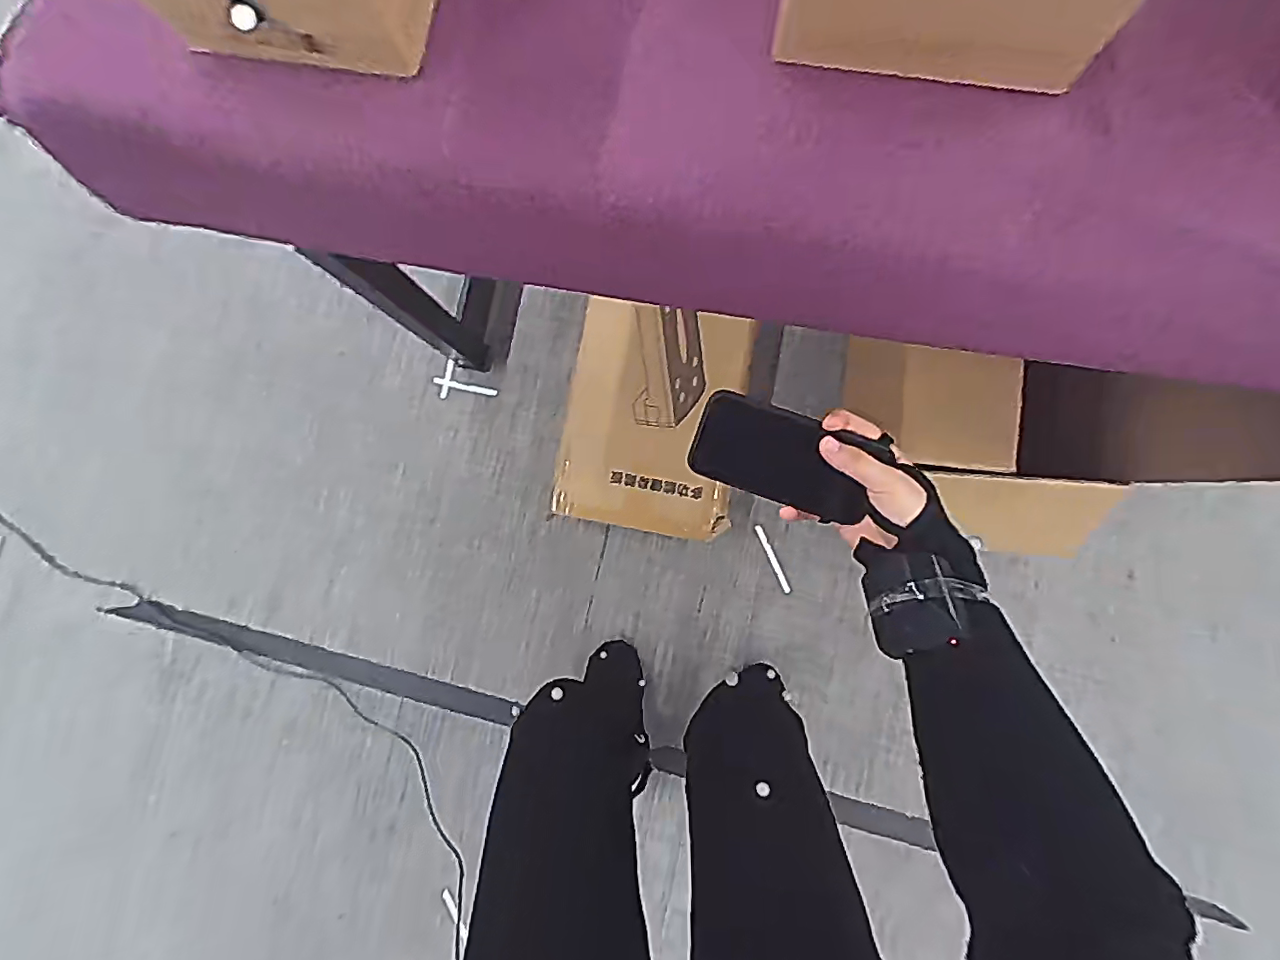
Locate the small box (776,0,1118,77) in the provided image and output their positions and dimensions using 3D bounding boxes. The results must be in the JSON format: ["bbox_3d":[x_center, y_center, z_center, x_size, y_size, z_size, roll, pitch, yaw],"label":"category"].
[{"bbox_3d":[0.177,-0.337,0.255,0.179,0.176,0.168,10,84,5],"label":"small box"}]
